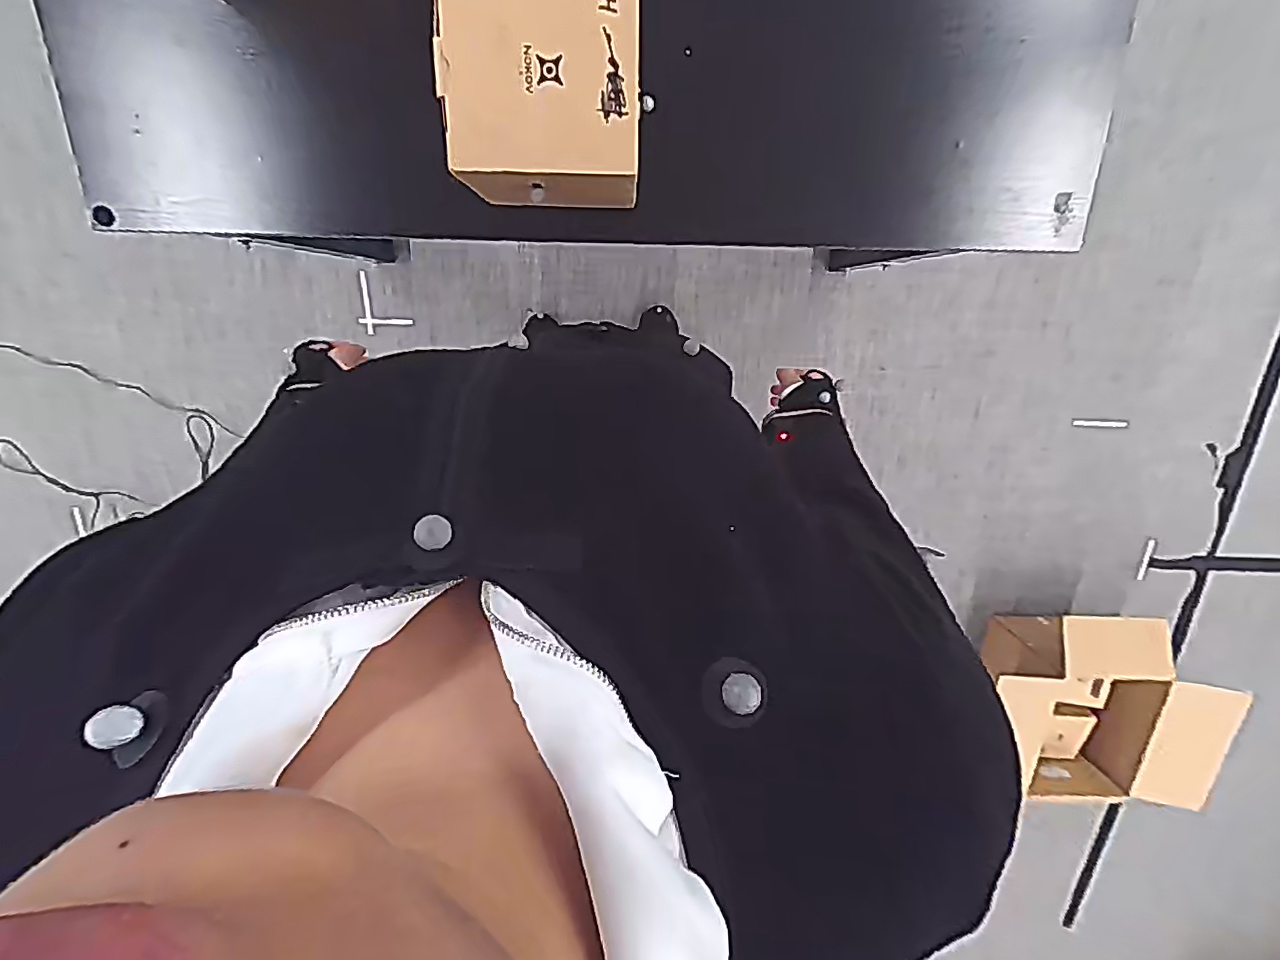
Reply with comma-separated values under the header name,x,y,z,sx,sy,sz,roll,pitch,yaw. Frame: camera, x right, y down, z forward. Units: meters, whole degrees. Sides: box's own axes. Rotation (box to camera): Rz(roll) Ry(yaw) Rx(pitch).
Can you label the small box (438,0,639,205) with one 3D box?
name,x,y,z,sx,sy,sz,roll,pitch,yaw
small box,-0.090,-0.389,0.558,0.179,0.176,0.168,0,107,-1
